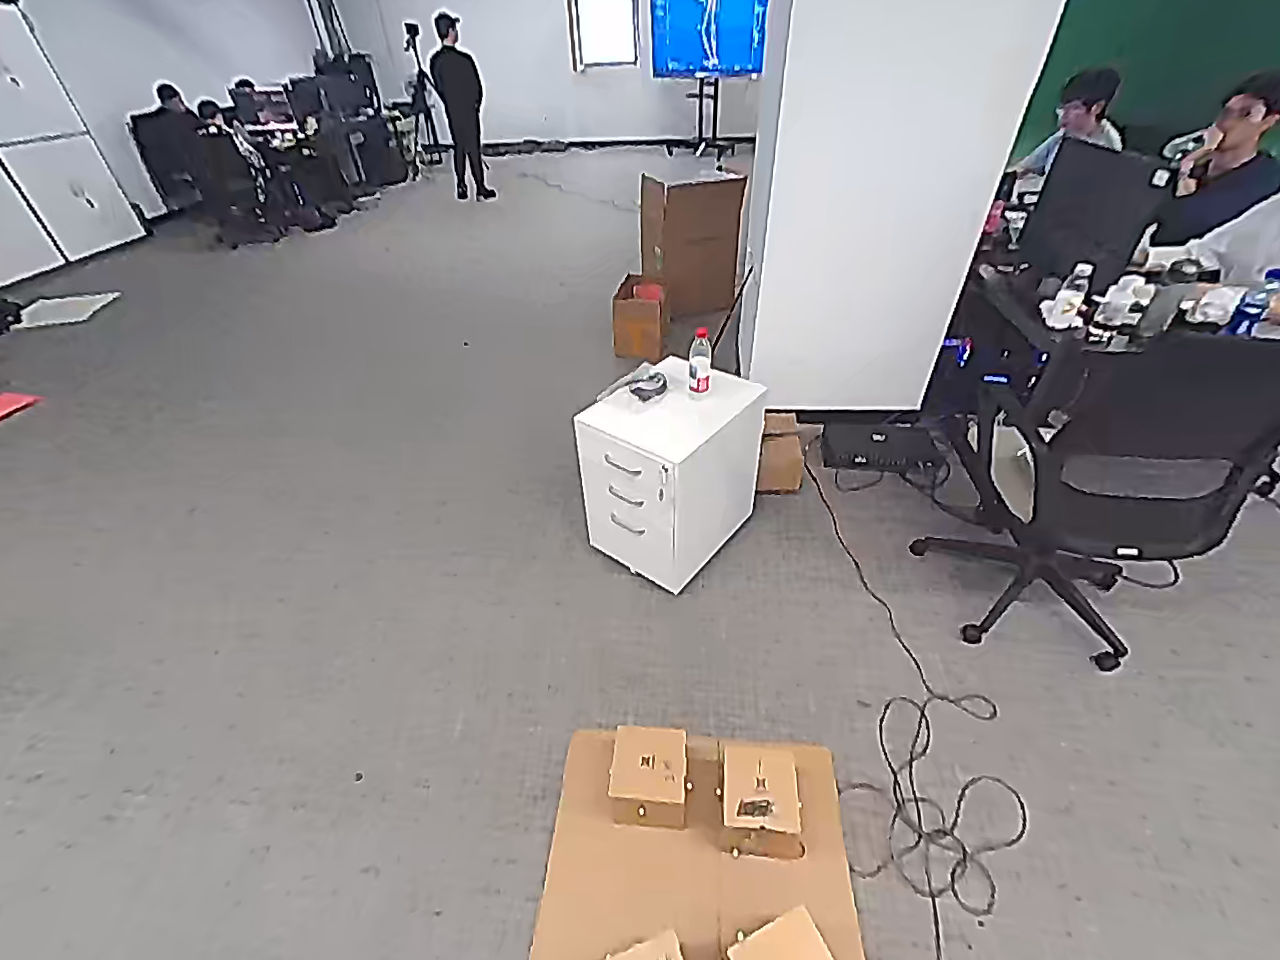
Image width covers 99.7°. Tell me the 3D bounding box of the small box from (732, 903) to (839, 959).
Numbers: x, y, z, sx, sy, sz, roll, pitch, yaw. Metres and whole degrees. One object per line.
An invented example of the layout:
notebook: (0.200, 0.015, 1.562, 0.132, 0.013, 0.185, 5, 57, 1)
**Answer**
small box: (0.287, 0.962, 1.034, 0.179, 0.176, 0.168, -19, 41, -15)
